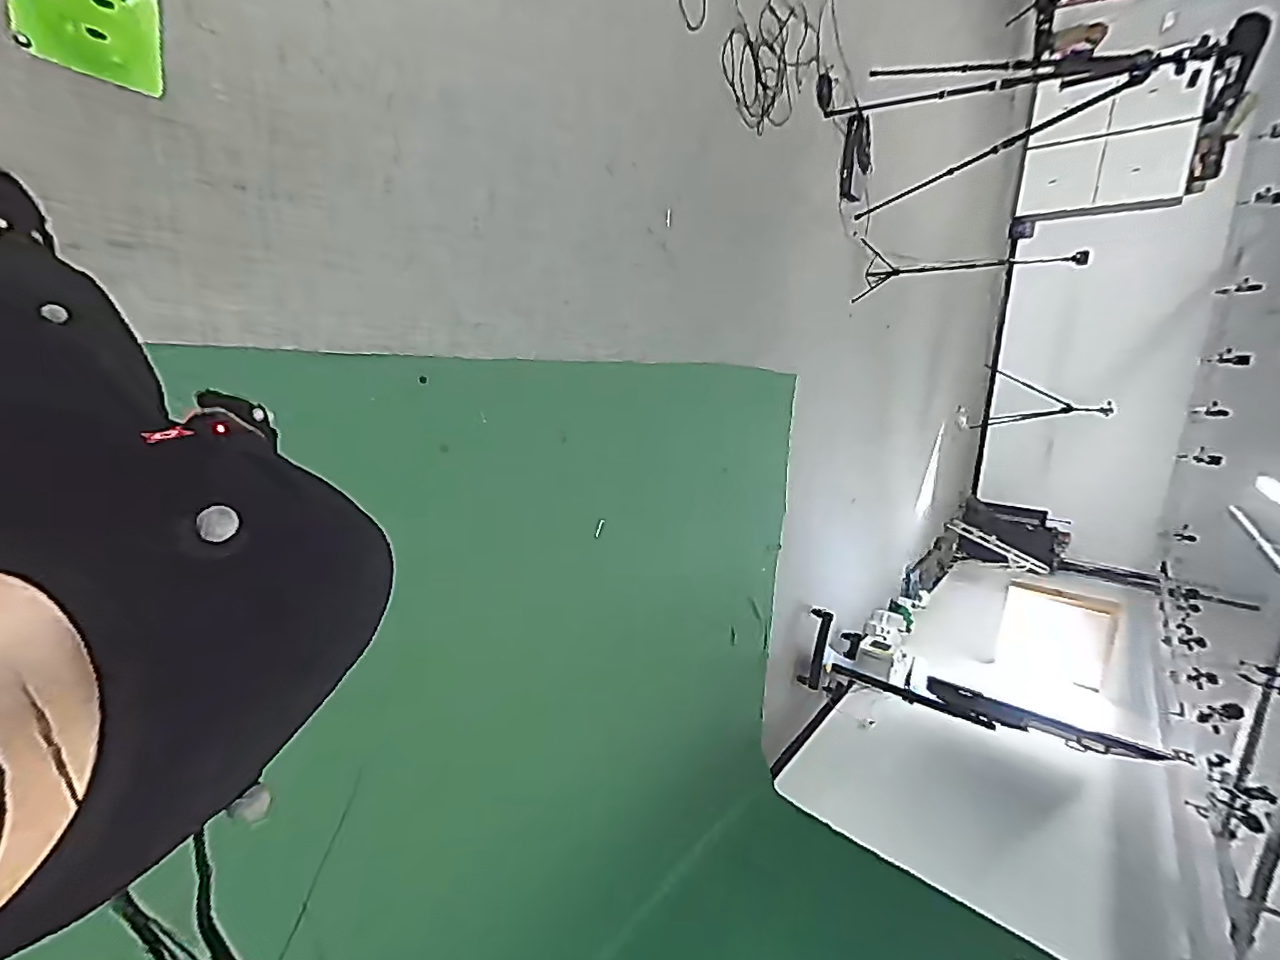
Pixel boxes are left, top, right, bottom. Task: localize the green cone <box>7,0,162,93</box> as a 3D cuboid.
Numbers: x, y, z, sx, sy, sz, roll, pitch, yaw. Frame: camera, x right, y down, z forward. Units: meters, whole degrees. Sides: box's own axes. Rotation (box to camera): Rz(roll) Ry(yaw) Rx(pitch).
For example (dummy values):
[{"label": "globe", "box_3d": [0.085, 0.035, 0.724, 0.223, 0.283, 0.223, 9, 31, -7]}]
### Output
[{"label": "green cone", "box_3d": [-0.886, -0.832, 0.886, 0.200, 0.368, 0.202, -8, 104, -49]}]
